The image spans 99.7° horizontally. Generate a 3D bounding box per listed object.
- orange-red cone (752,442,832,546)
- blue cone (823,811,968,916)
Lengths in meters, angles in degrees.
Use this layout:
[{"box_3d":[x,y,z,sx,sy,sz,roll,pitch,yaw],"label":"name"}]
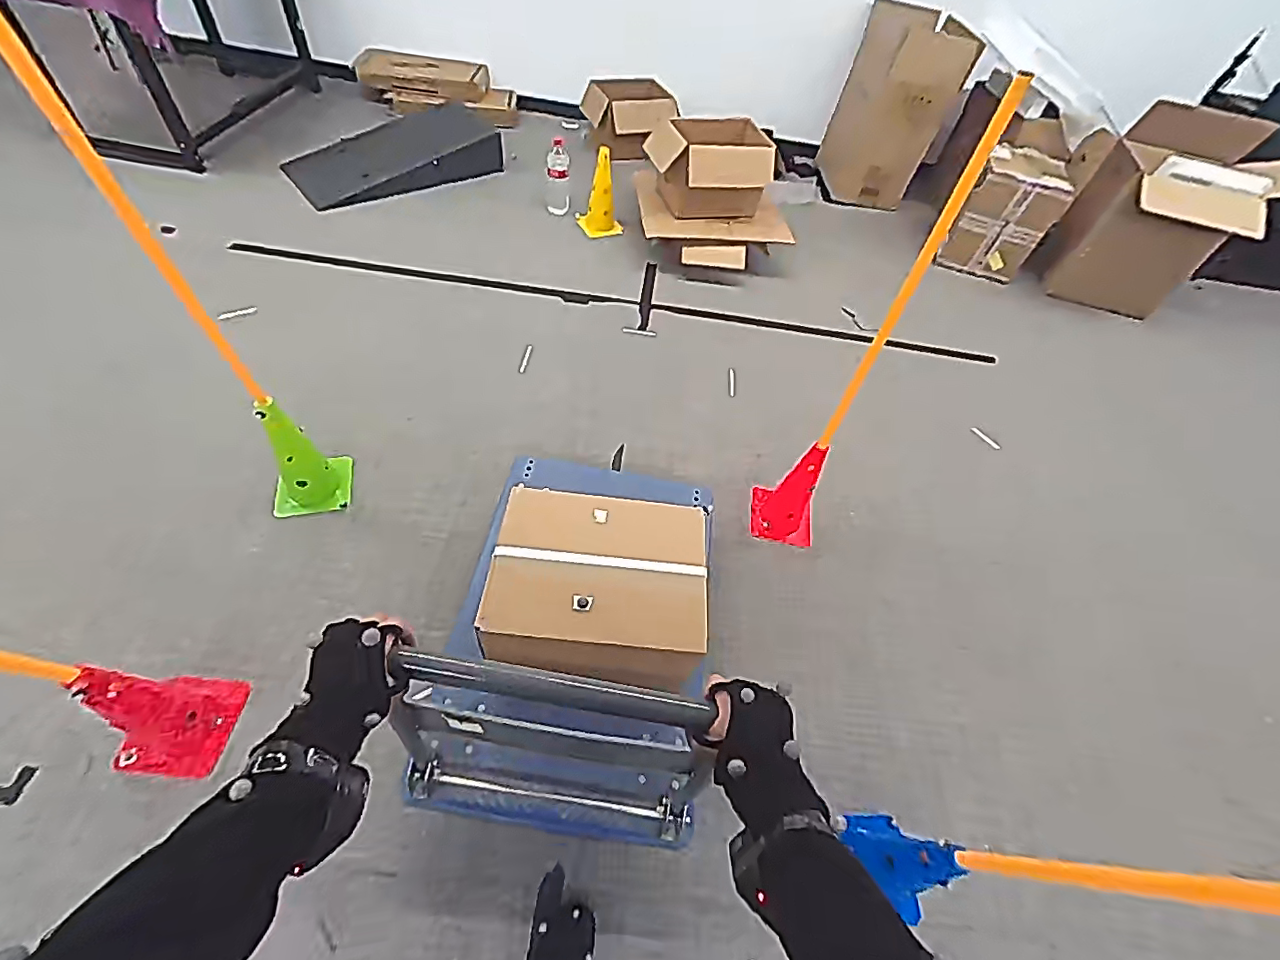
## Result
[{"box_3d":[0.487,0.013,1.612,0.199,0.360,0.198,14,53,1],"label":"orange-red cone"},{"box_3d":[0.533,0.749,1.077,0.193,0.380,0.192,5,51,-5],"label":"blue cone"}]
